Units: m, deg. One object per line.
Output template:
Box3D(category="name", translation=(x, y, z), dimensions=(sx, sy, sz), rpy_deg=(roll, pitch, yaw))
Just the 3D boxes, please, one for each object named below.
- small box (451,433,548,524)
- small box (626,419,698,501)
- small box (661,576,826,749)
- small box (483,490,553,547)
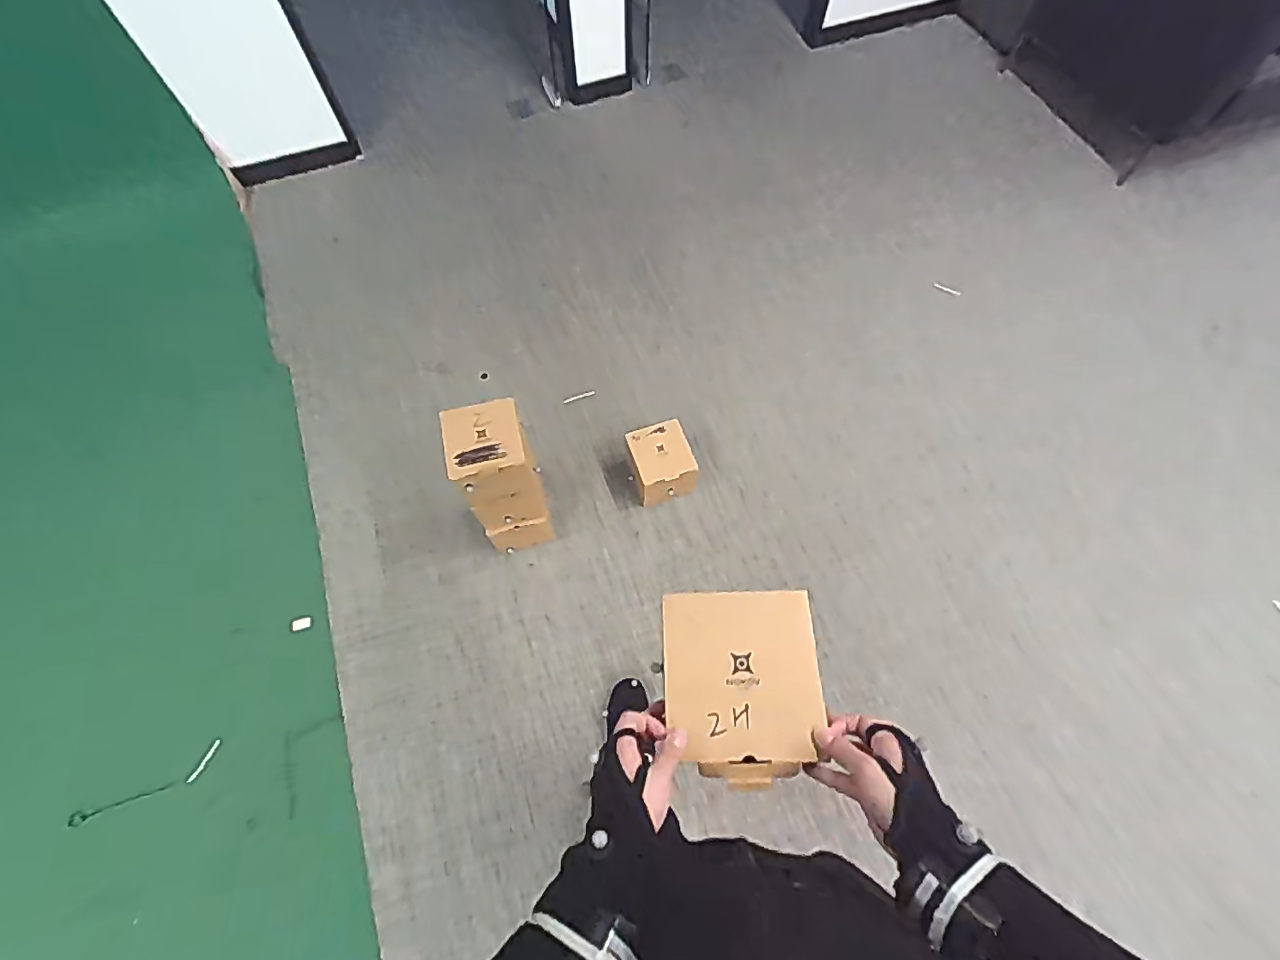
Box3D(category="small box", translation=(-0.358, 0.002, 1.413), dimensions=(0.179, 0.176, 0.168), rpy_deg=(15, 69, 6))
Box3D(category="small box", translation=(0.061, -0.050, 1.610), dimensions=(0.168, 0.176, 0.179), rpy_deg=(-17, 68, -8))
Box3D(category="small box", translation=(0.109, 0.224, 0.649), dimensions=(0.168, 0.176, 0.179), rpy_deg=(-1, 64, 3))
Box3D(category="small box", translation=(-0.351, 0.080, 1.548), dimensions=(0.168, 0.176, 0.179), rpy_deg=(-14, 66, -7))
